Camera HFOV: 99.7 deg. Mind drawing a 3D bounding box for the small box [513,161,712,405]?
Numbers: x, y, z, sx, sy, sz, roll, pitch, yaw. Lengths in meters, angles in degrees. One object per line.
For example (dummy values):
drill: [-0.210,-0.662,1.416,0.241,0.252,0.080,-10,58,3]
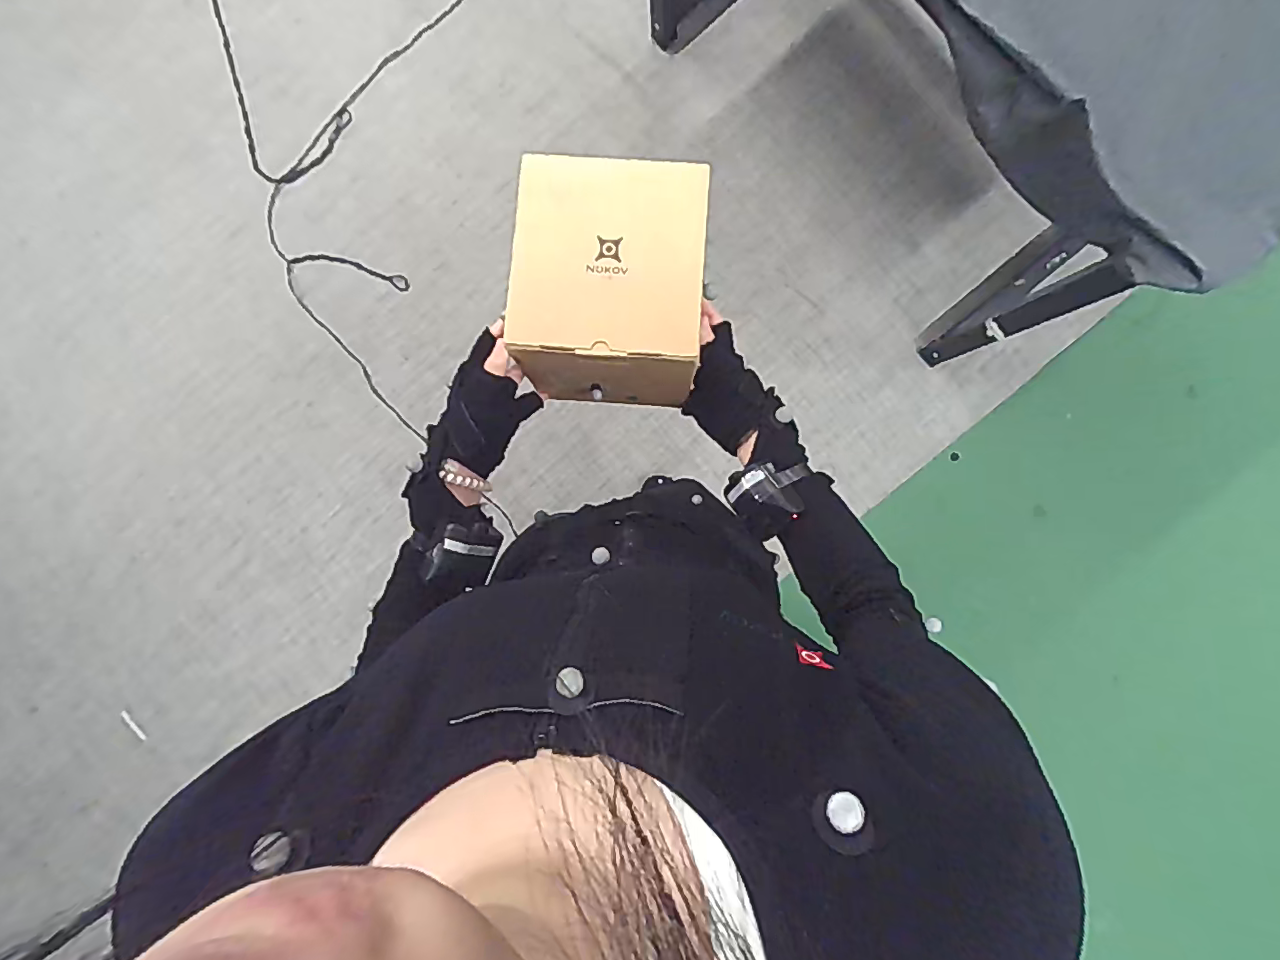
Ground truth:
small box: [-0.024,-0.186,0.555,0.168,0.176,0.179,4,85,1]
